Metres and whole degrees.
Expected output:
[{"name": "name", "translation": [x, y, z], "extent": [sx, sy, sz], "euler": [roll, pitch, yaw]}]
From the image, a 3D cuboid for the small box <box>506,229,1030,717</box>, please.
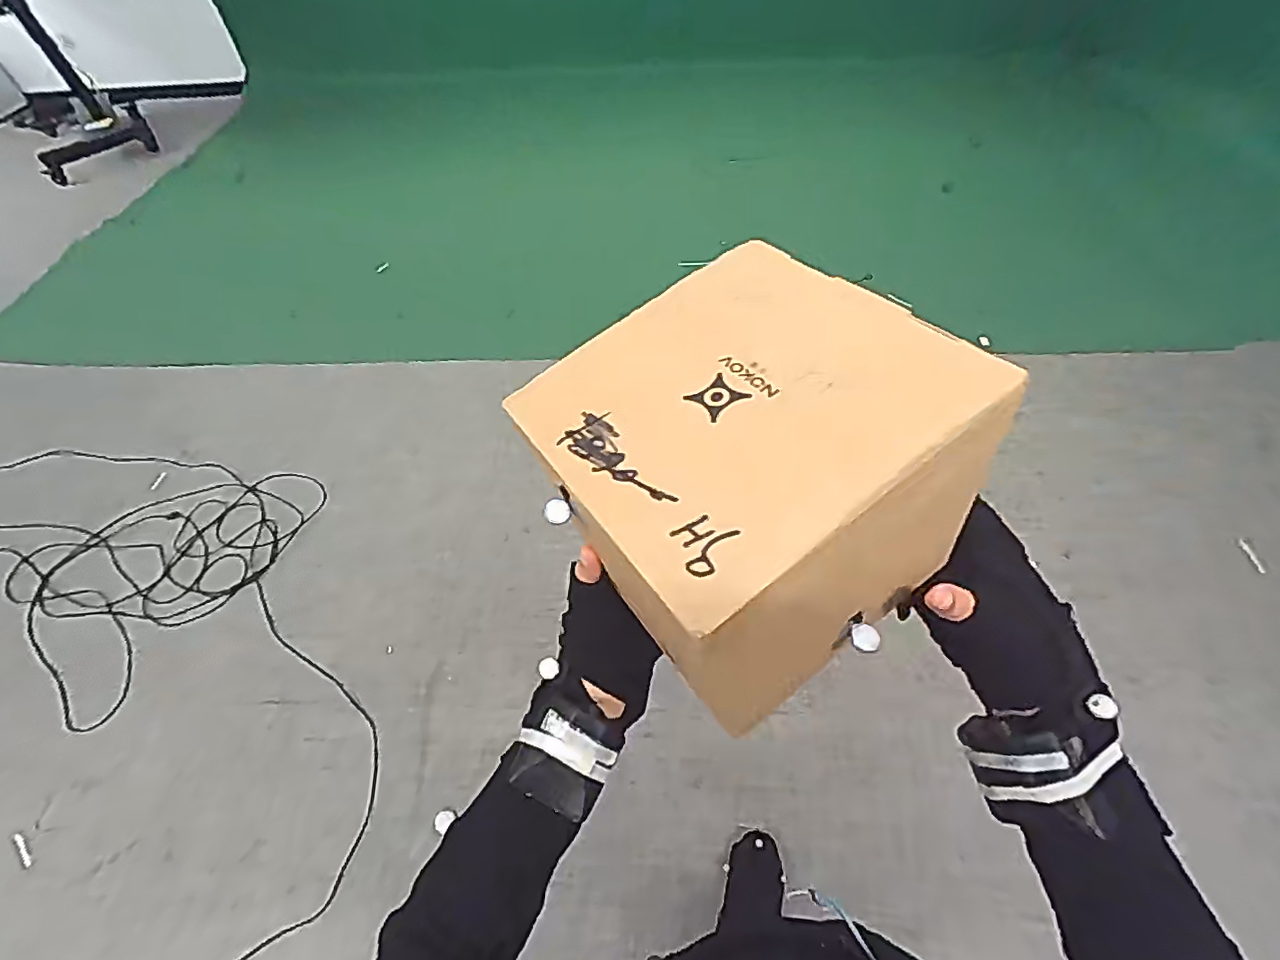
[{"name": "small box", "translation": [0.060, -0.001, 0.307], "extent": [0.179, 0.176, 0.168], "euler": [-35, 53, -12]}]
